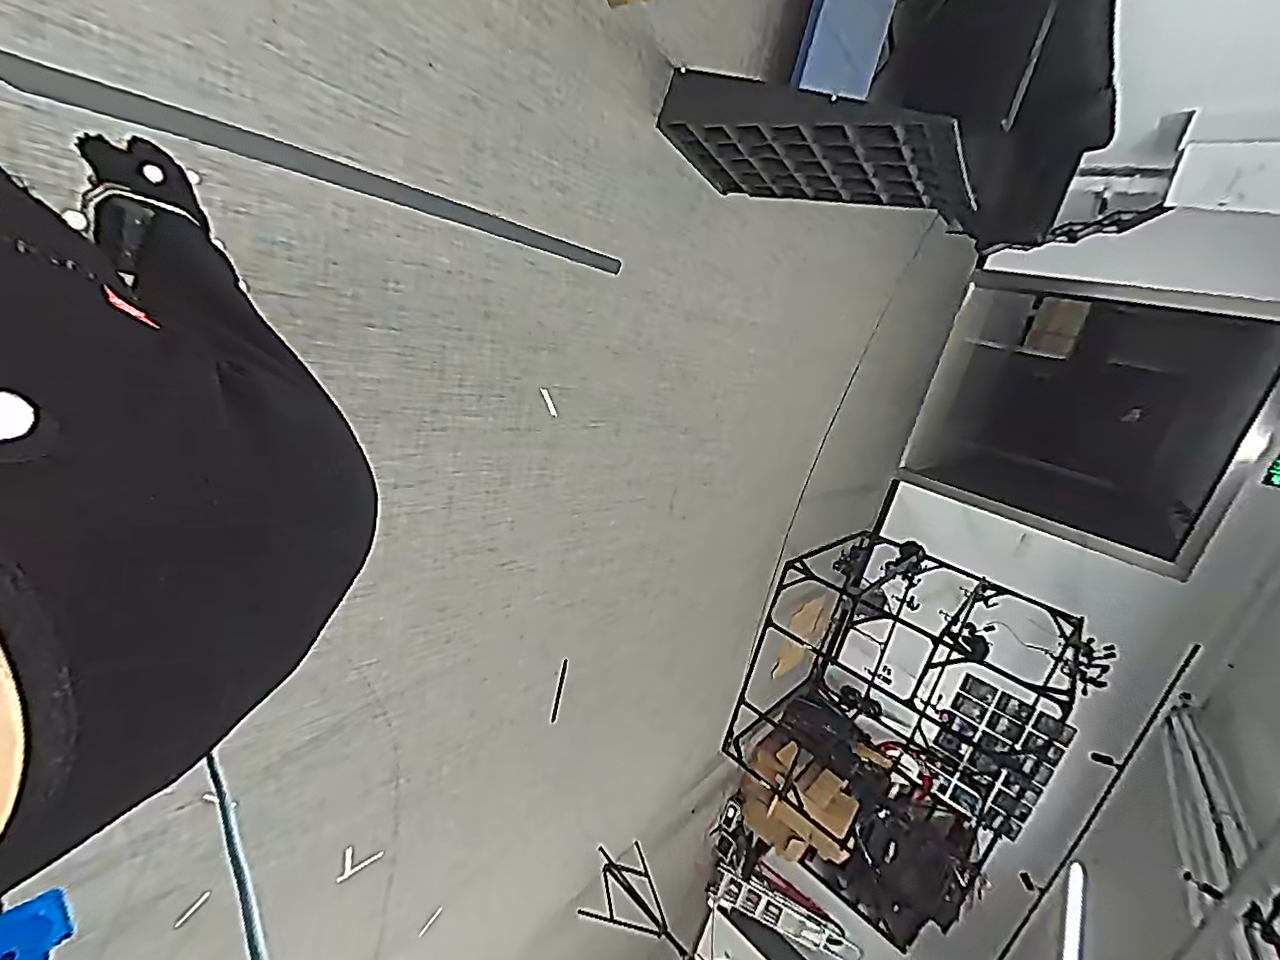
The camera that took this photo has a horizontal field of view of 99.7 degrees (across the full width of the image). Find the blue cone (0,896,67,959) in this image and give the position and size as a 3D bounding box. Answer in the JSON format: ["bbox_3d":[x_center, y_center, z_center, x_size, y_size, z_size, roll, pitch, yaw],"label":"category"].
[{"bbox_3d":[-1.424,1.192,1.224,0.192,0.380,0.193,-12,120,-50],"label":"blue cone"}]
